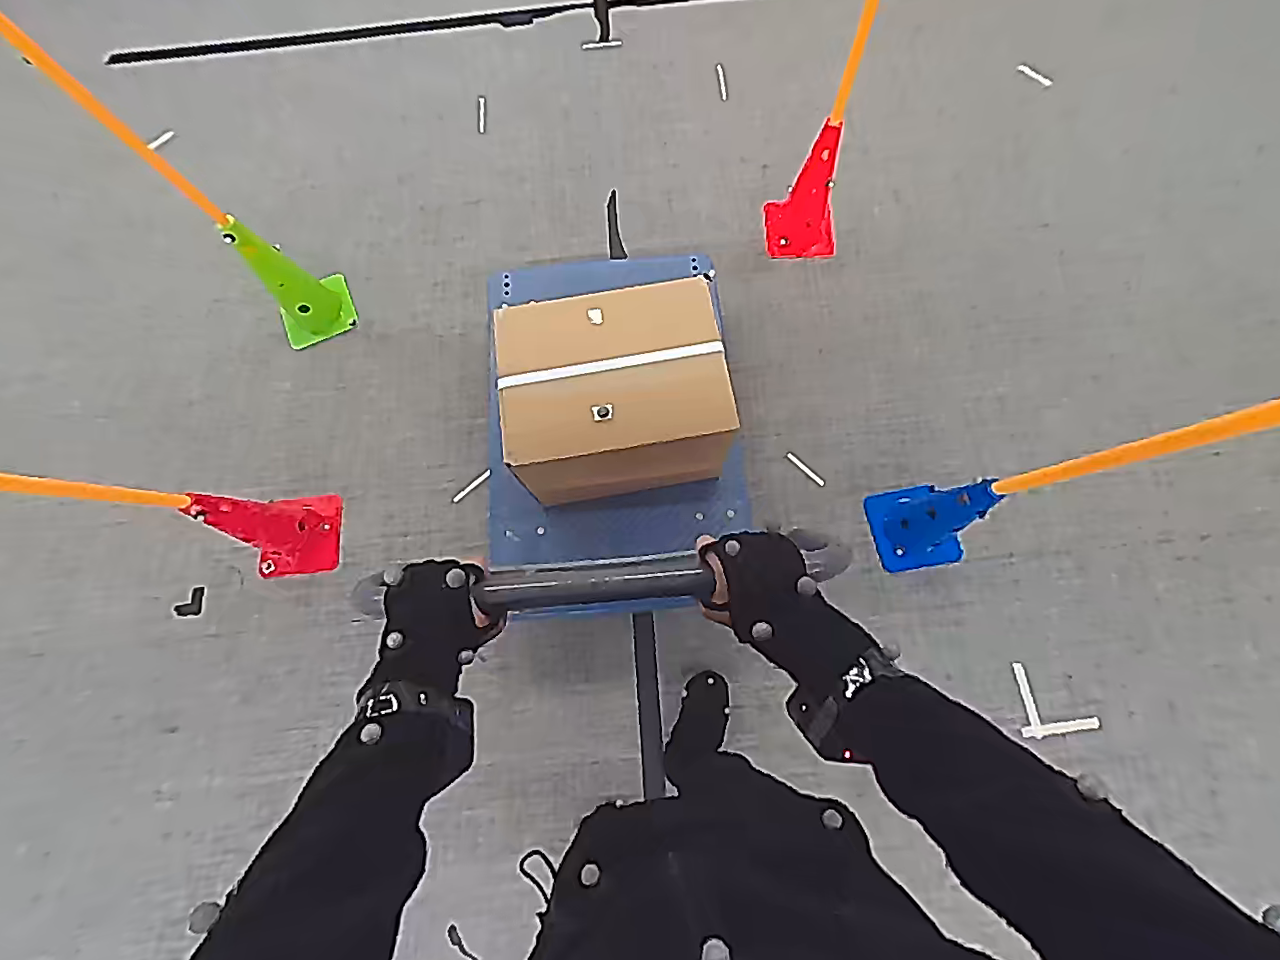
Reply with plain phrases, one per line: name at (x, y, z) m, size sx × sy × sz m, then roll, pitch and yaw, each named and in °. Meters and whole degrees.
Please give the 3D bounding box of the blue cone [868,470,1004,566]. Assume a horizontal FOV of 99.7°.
blue cone at (0.674, 0.063, 1.185) m, size 0.193 × 0.380 × 0.192 m, roll -9°, pitch 72°, yaw -1°

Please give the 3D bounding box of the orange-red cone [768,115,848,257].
orange-red cone at (0.474, -0.791, 1.431) m, size 0.199 × 0.360 × 0.198 m, roll 2°, pitch 74°, yaw 1°
